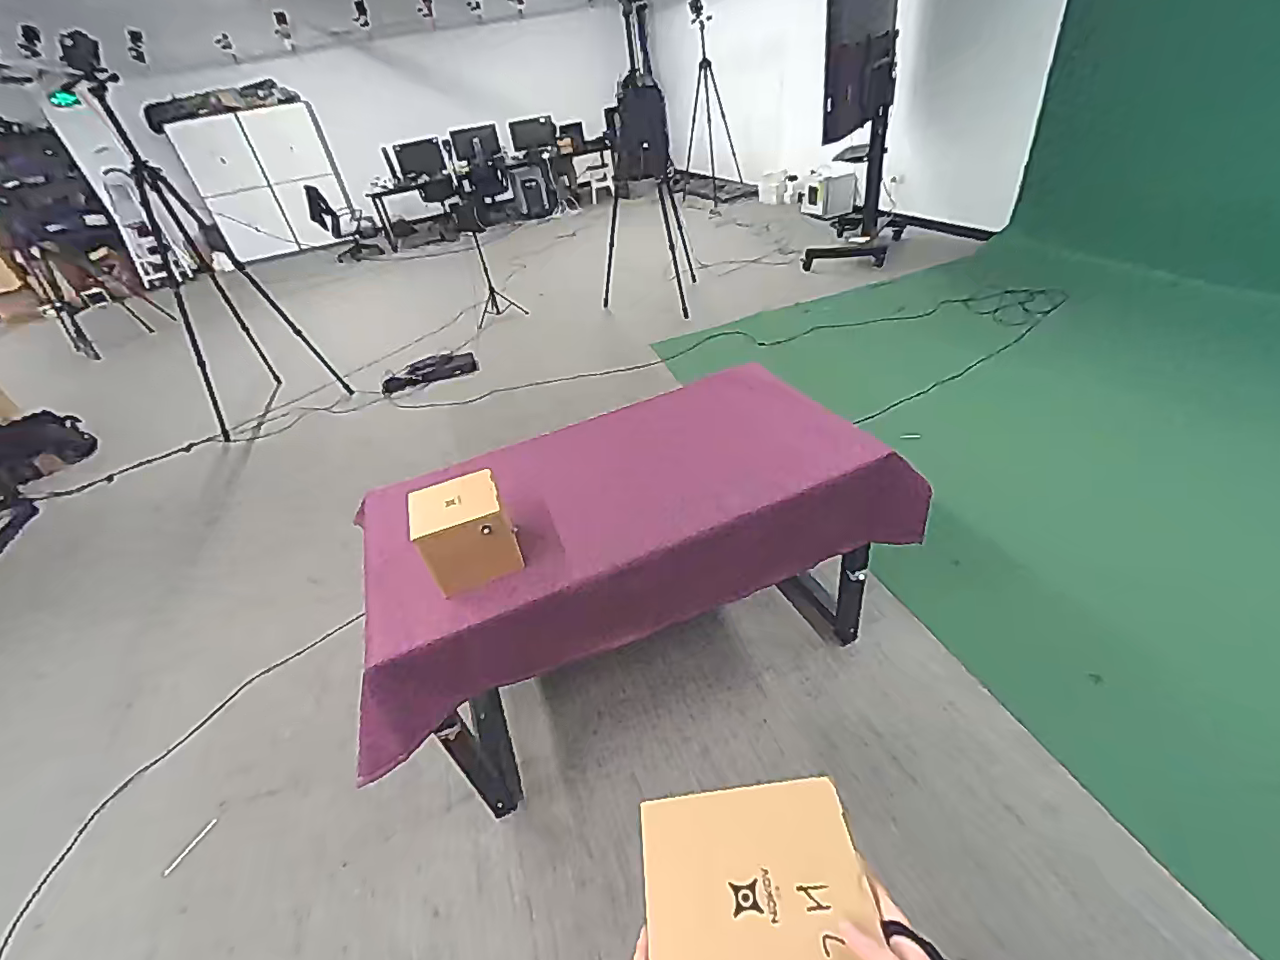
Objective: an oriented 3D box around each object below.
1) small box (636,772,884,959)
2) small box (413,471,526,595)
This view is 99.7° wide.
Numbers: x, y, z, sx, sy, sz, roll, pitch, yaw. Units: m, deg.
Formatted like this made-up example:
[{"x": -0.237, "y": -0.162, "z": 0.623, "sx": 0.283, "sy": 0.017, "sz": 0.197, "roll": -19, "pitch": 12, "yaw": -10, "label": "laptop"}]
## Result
[{"x": 0.098, "y": 0.386, "z": 0.469, "sx": 0.179, "sy": 0.176, "sz": 0.168, "roll": -9, "pitch": 35, "yaw": 3, "label": "small box"}, {"x": -0.359, "y": 0.114, "z": 1.143, "sx": 0.179, "sy": 0.176, "sz": 0.168, "roll": -20, "pitch": 37, "yaw": -12, "label": "small box"}]
